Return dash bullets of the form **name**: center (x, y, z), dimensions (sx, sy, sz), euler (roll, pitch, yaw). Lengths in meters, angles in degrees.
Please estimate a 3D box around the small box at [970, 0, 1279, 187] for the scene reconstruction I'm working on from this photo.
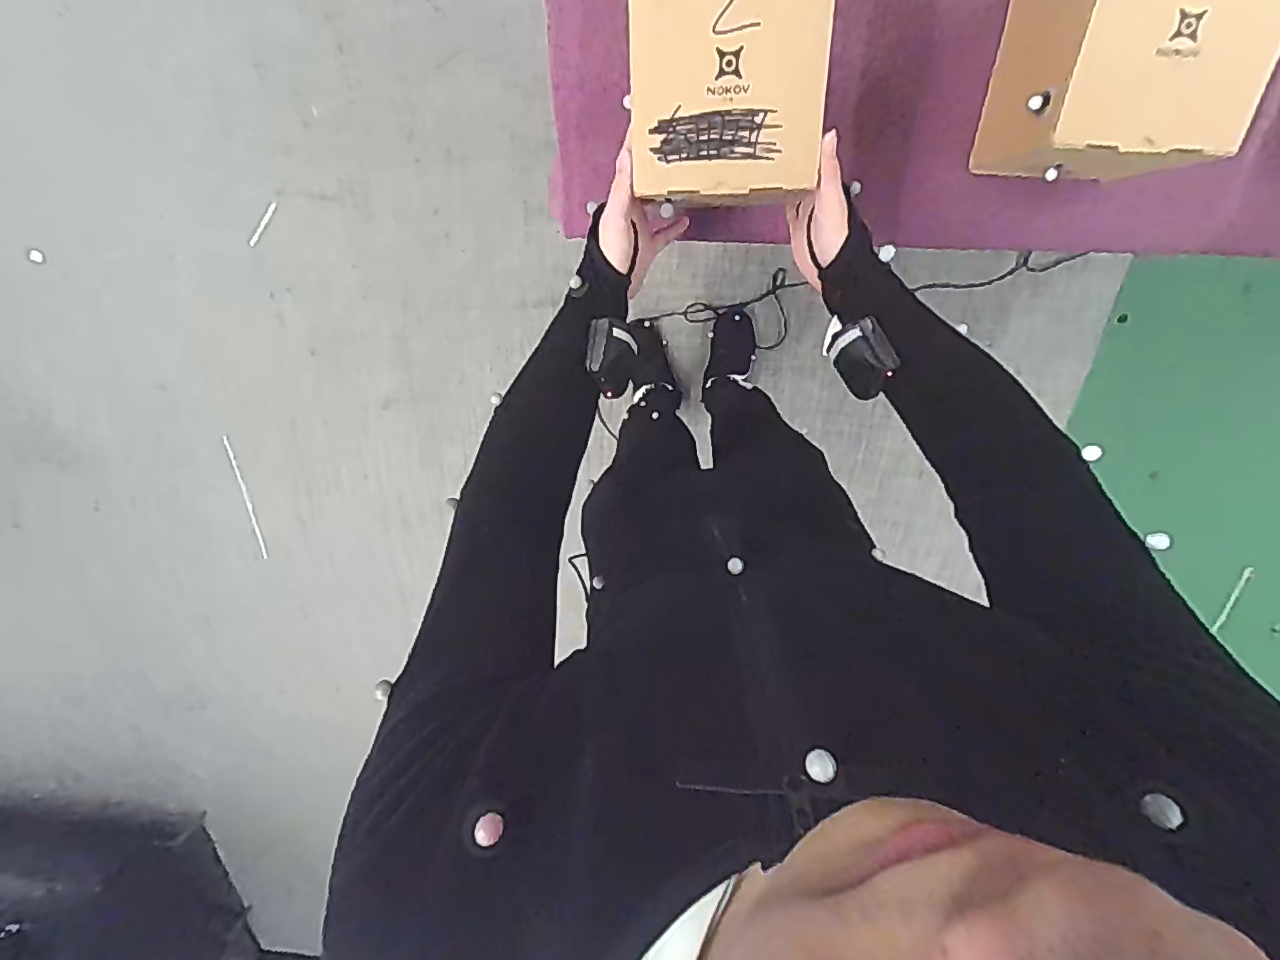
- **small box**: center (0.471, -0.405, 0.544), dimensions (0.168, 0.176, 0.179), euler (4, 115, 2)
